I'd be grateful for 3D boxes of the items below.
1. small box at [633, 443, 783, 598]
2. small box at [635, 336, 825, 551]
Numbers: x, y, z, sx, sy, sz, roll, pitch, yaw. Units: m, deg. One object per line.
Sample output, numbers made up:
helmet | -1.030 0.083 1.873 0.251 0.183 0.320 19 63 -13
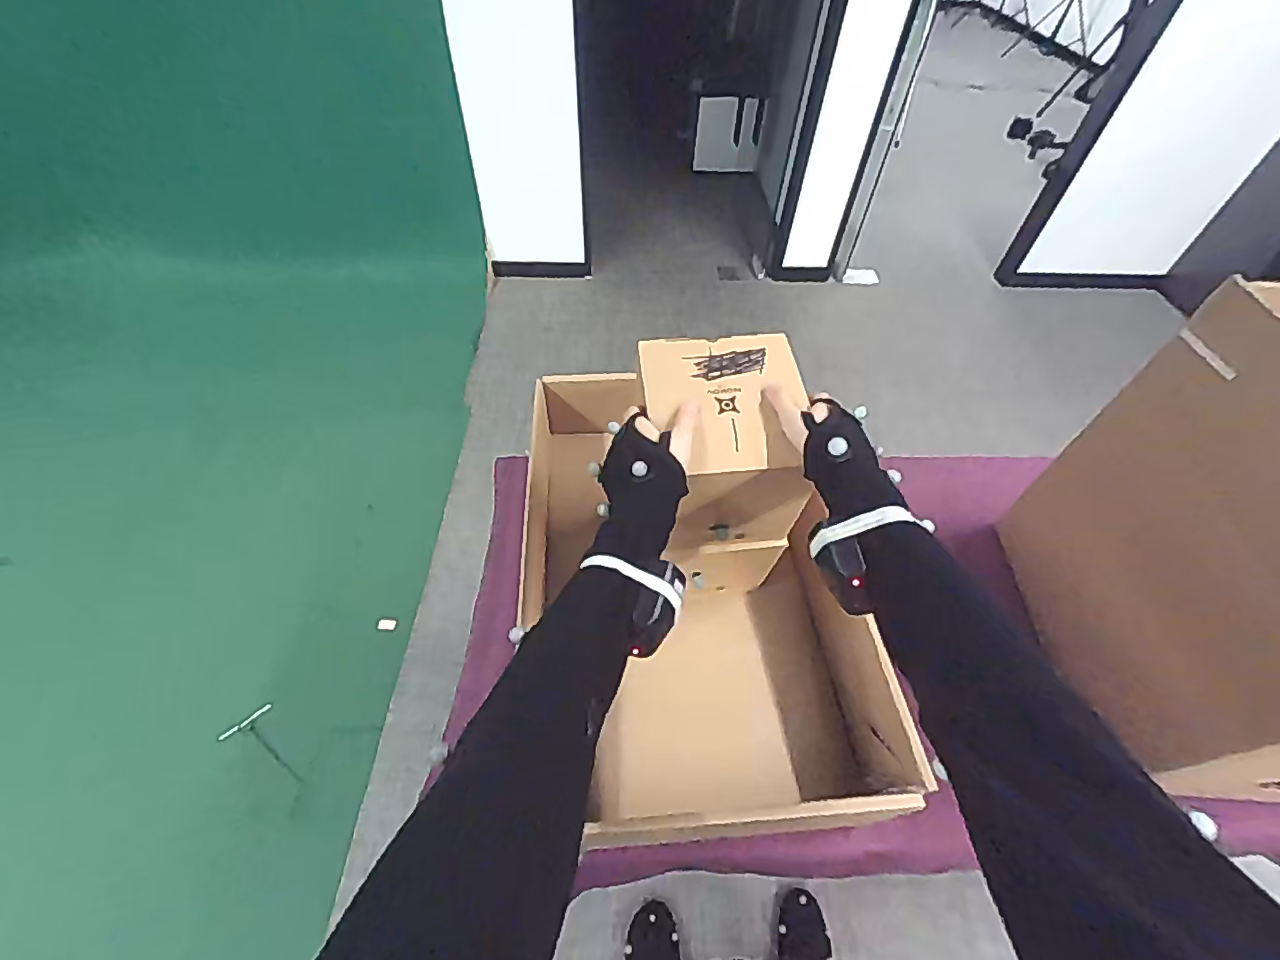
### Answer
small box | 0.082 0.055 0.750 0.168 0.176 0.179 -6 59 -4
small box | 0.083 -0.037 0.613 0.168 0.176 0.179 -5 60 -4
